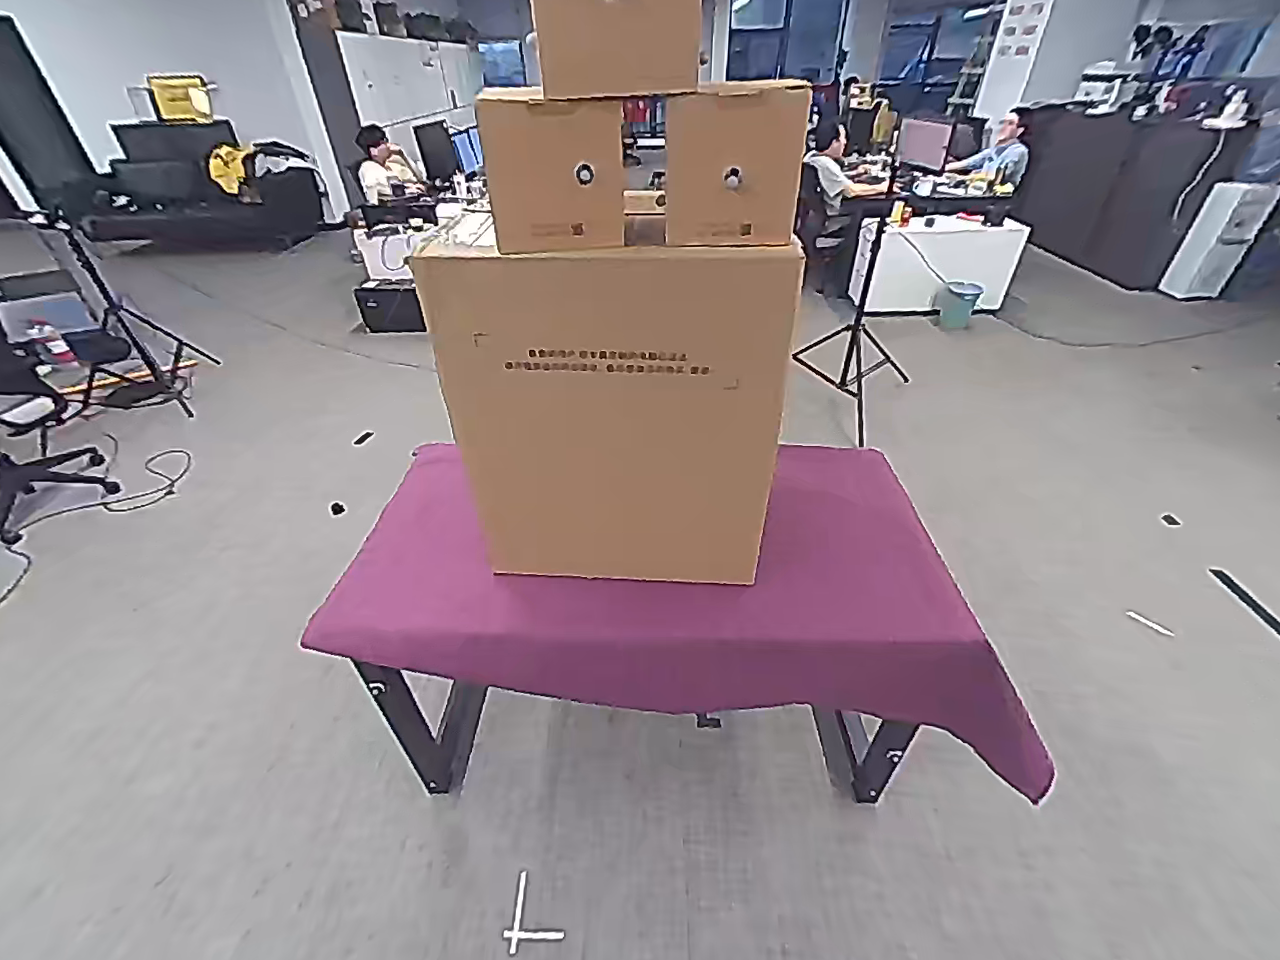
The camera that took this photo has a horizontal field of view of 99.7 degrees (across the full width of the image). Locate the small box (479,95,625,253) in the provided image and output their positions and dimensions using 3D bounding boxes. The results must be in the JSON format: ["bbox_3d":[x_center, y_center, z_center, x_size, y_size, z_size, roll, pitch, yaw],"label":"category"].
[{"bbox_3d":[-0.112,-0.412,0.728,0.168,0.176,0.179,-5,38,-7],"label":"small box"}]

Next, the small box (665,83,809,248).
[{"bbox_3d":[0.120,-0.420,0.725,0.168,0.176,0.179,2,39,4],"label":"small box"}]

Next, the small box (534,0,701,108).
[{"bbox_3d":[-0.026,-0.537,0.616,0.179,0.176,0.168,-5,39,-1],"label":"small box"}]
